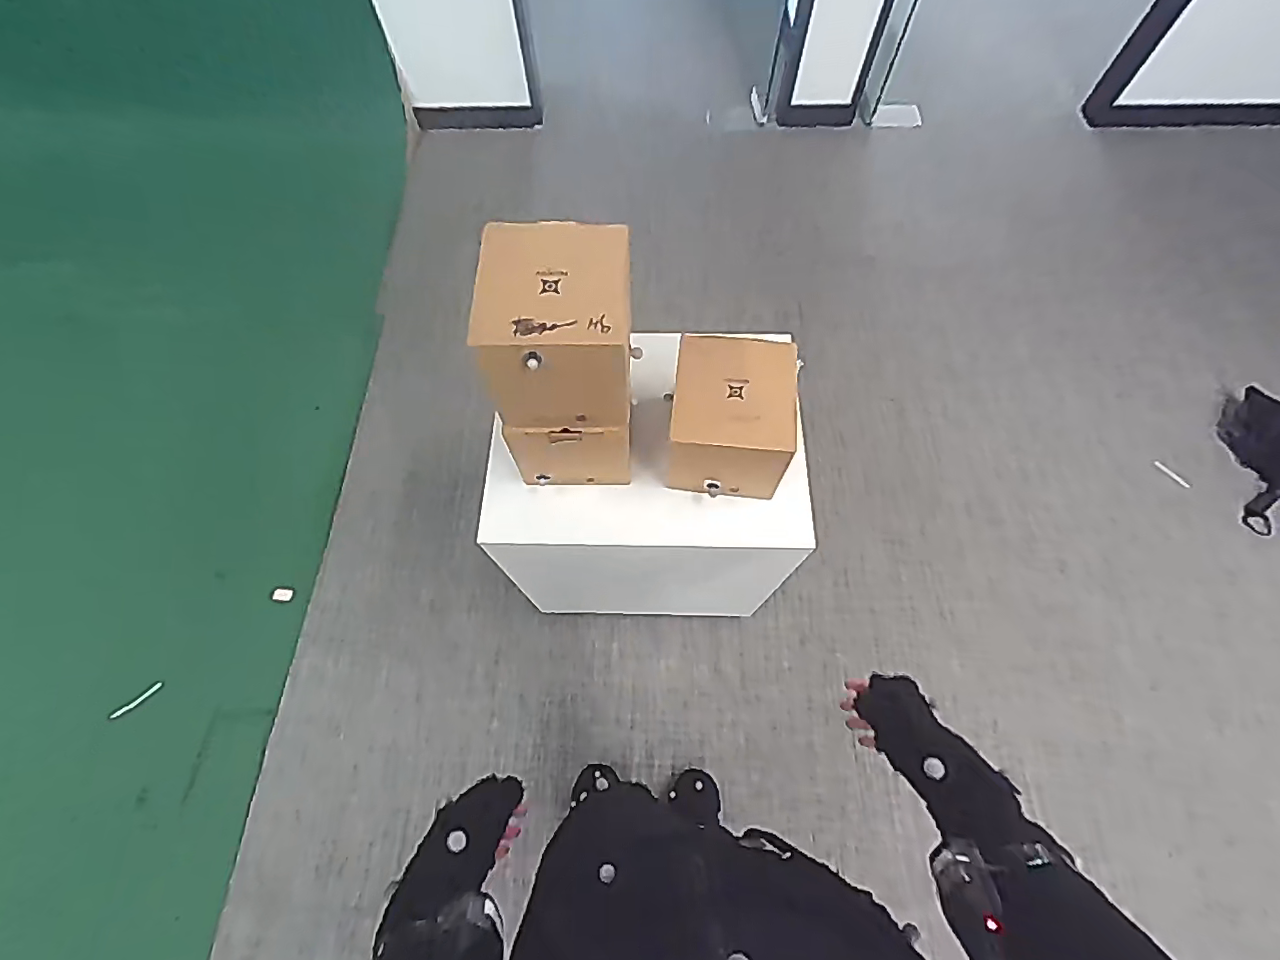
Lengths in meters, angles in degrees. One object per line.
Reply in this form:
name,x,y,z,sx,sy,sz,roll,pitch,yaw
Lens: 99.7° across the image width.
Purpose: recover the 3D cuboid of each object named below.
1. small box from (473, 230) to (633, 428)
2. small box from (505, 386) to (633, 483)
small box,-0.094,-0.182,0.676,0.168,0.176,0.179,0,64,1
small box,-0.096,-0.104,0.819,0.168,0.176,0.179,0,64,0
